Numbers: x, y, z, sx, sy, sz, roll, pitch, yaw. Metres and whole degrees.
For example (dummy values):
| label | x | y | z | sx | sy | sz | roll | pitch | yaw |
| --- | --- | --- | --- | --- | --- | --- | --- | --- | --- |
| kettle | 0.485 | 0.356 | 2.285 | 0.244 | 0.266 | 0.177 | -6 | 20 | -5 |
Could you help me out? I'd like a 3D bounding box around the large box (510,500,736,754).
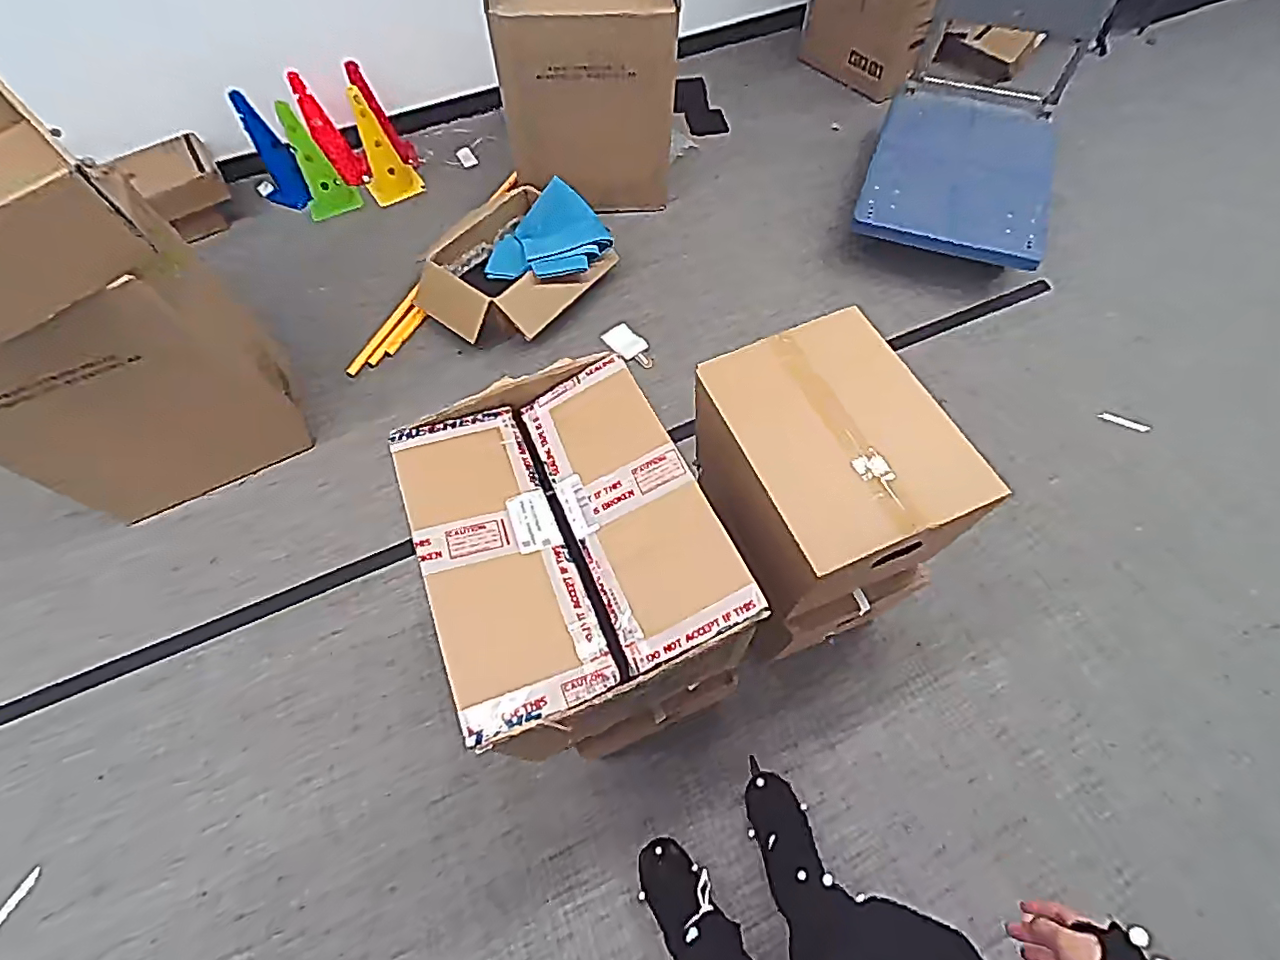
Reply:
| label | x | y | z | sx | sy | sz | roll | pitch | yaw |
| --- | --- | --- | --- | --- | --- | --- | --- | --- | --- |
| large box | -0.043 | 0.323 | 1.173 | 0.320 | 0.320 | 0.408 | -23 | 64 | -9 |
